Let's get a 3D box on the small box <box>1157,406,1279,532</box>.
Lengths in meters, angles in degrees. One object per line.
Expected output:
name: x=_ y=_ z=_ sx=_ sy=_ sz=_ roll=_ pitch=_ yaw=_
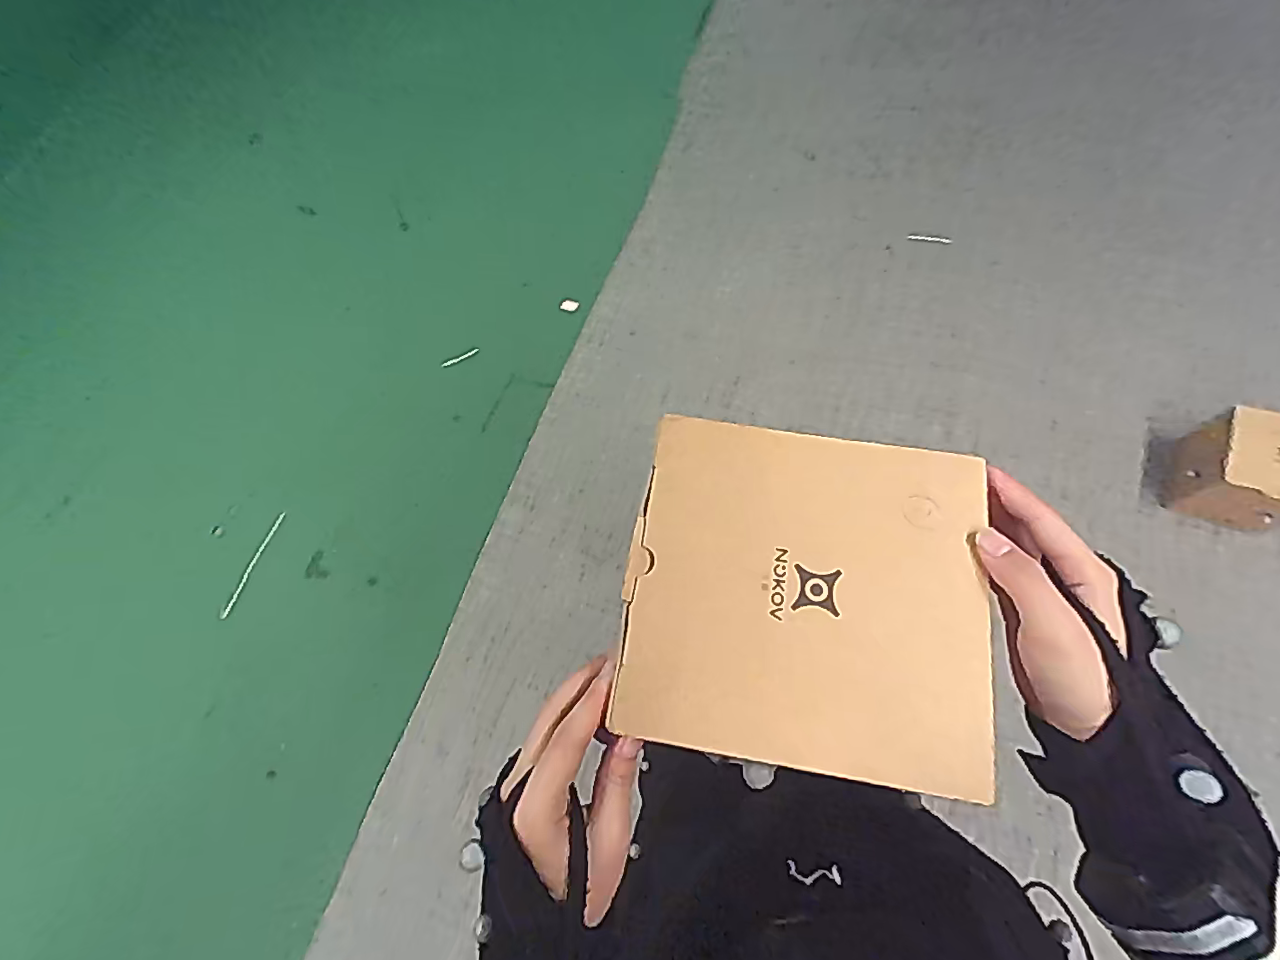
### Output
small box: x=1.199 y=-0.015 z=1.088 sx=0.168 sy=0.176 sz=0.179 roll=20 pitch=73 yaw=16
